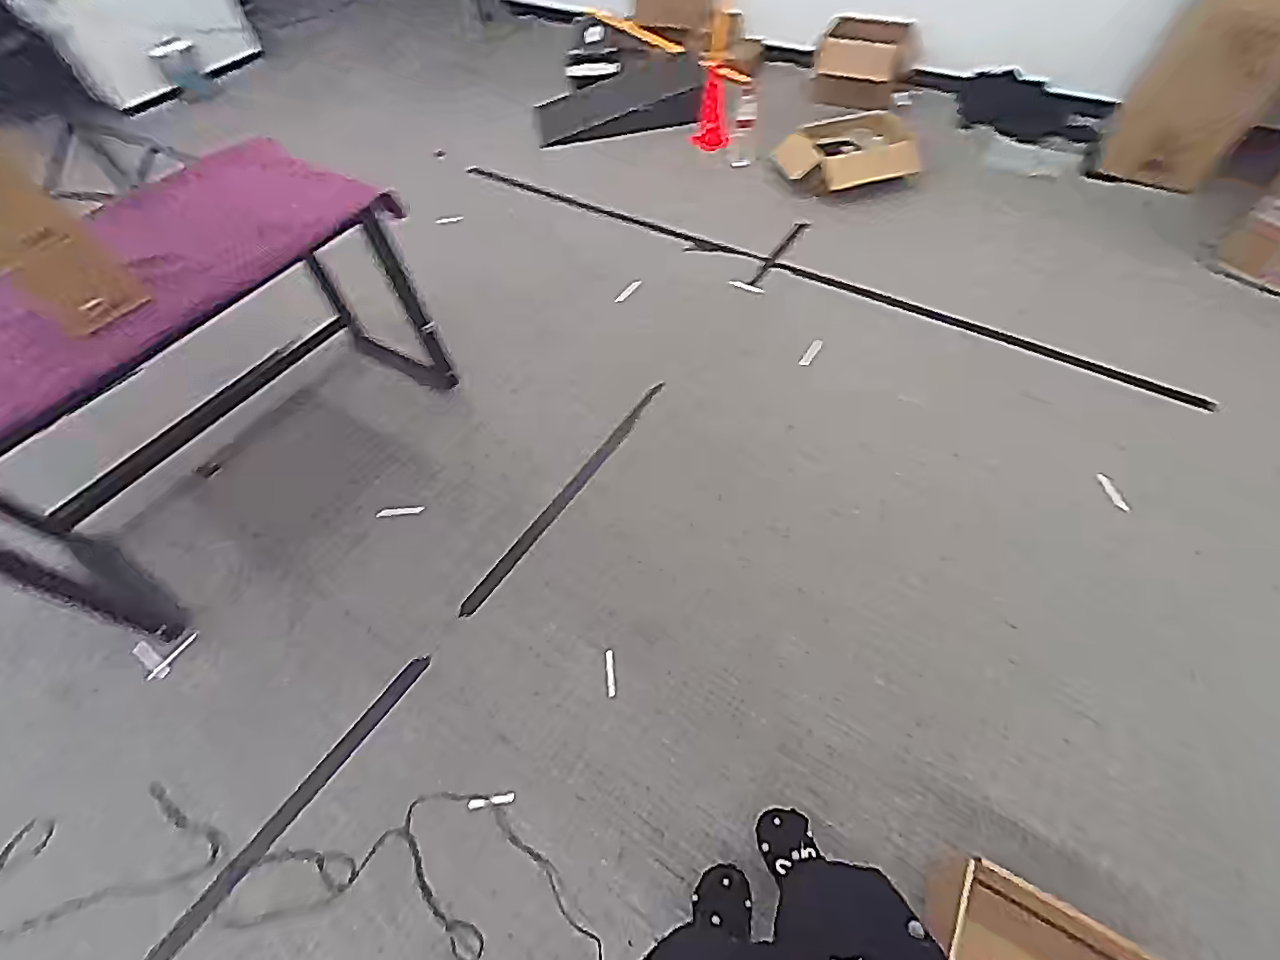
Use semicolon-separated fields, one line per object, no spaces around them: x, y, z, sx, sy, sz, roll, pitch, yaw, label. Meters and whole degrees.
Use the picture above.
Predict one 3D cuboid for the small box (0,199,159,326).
-1.200;-0.459;1.152;0.179;0.176;0.168;31;65;21;small box
